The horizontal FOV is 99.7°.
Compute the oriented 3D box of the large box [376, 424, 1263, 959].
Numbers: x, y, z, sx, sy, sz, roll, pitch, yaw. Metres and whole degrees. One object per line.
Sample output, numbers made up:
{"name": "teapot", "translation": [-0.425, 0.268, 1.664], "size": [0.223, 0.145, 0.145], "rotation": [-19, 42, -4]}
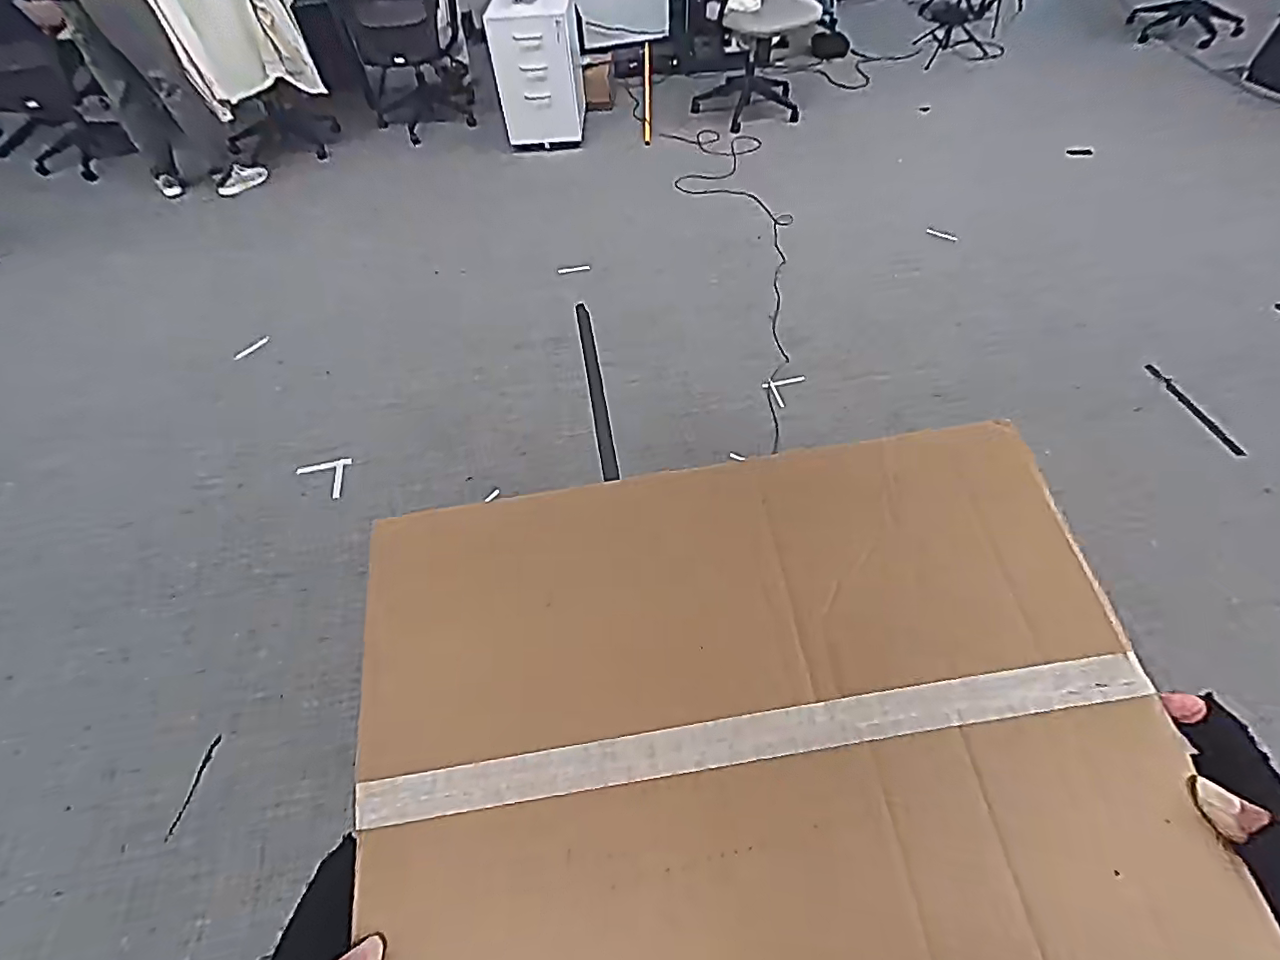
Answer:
{"name": "large box", "translation": [0.066, 0.196, 0.424], "size": [0.408, 0.320, 0.320], "rotation": [-10, 65, -1]}
